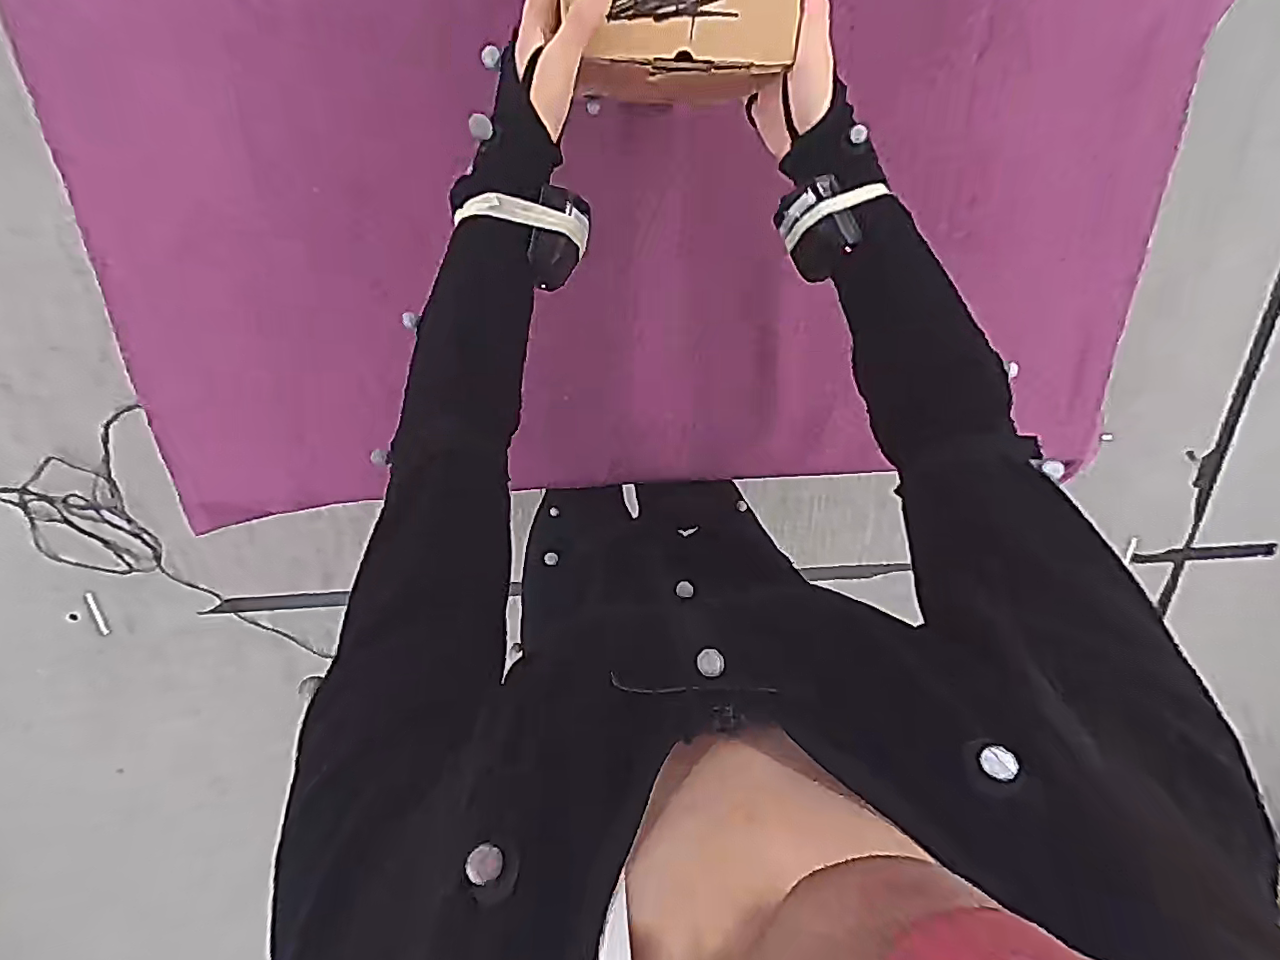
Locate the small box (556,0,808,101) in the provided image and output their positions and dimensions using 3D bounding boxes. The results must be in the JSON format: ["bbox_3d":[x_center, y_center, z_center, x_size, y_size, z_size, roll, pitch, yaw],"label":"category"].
[{"bbox_3d":[0.024,-0.401,0.404,0.168,0.176,0.179,-3,118,-10],"label":"small box"}]
